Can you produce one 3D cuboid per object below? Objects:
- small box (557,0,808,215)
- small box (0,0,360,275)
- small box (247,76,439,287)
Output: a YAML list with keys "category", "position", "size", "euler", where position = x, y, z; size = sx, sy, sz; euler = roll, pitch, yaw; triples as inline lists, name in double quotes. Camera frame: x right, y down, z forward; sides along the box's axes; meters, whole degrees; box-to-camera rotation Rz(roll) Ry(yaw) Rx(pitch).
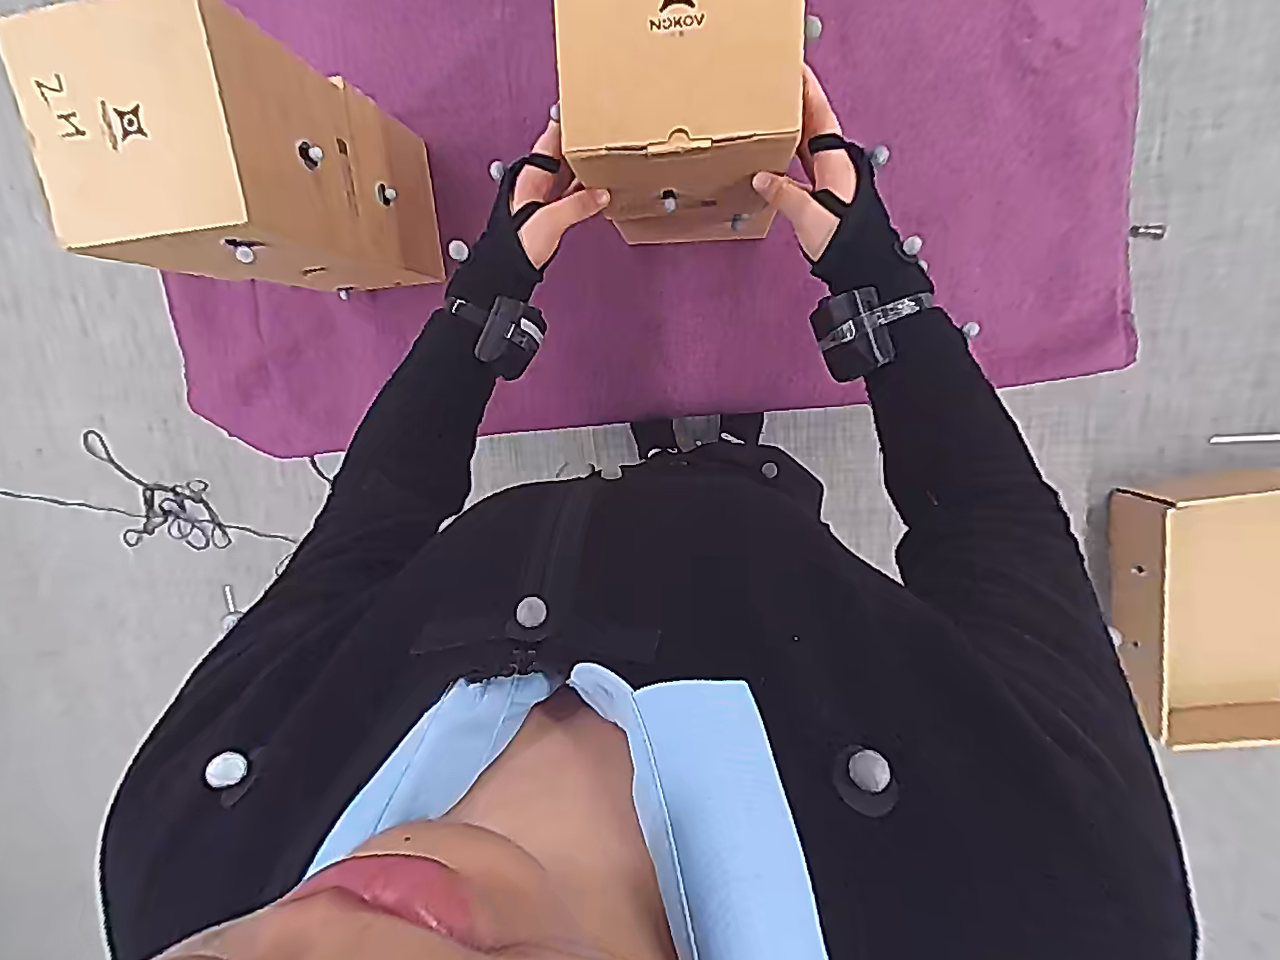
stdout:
- category: "small box"
  position: [0.034, -0.331, 0.429]
  size: [0.168, 0.176, 0.179]
  euler: [-1, 102, 7]
- category: "small box"
  position: [-0.382, -0.289, 0.487]
  size: [0.179, 0.176, 0.168]
  euler: [-4, 102, 7]
- category: "small box"
  position: [-0.360, -0.333, 0.645]
  size: [0.168, 0.176, 0.179]
  euler: [-3, 101, 7]
